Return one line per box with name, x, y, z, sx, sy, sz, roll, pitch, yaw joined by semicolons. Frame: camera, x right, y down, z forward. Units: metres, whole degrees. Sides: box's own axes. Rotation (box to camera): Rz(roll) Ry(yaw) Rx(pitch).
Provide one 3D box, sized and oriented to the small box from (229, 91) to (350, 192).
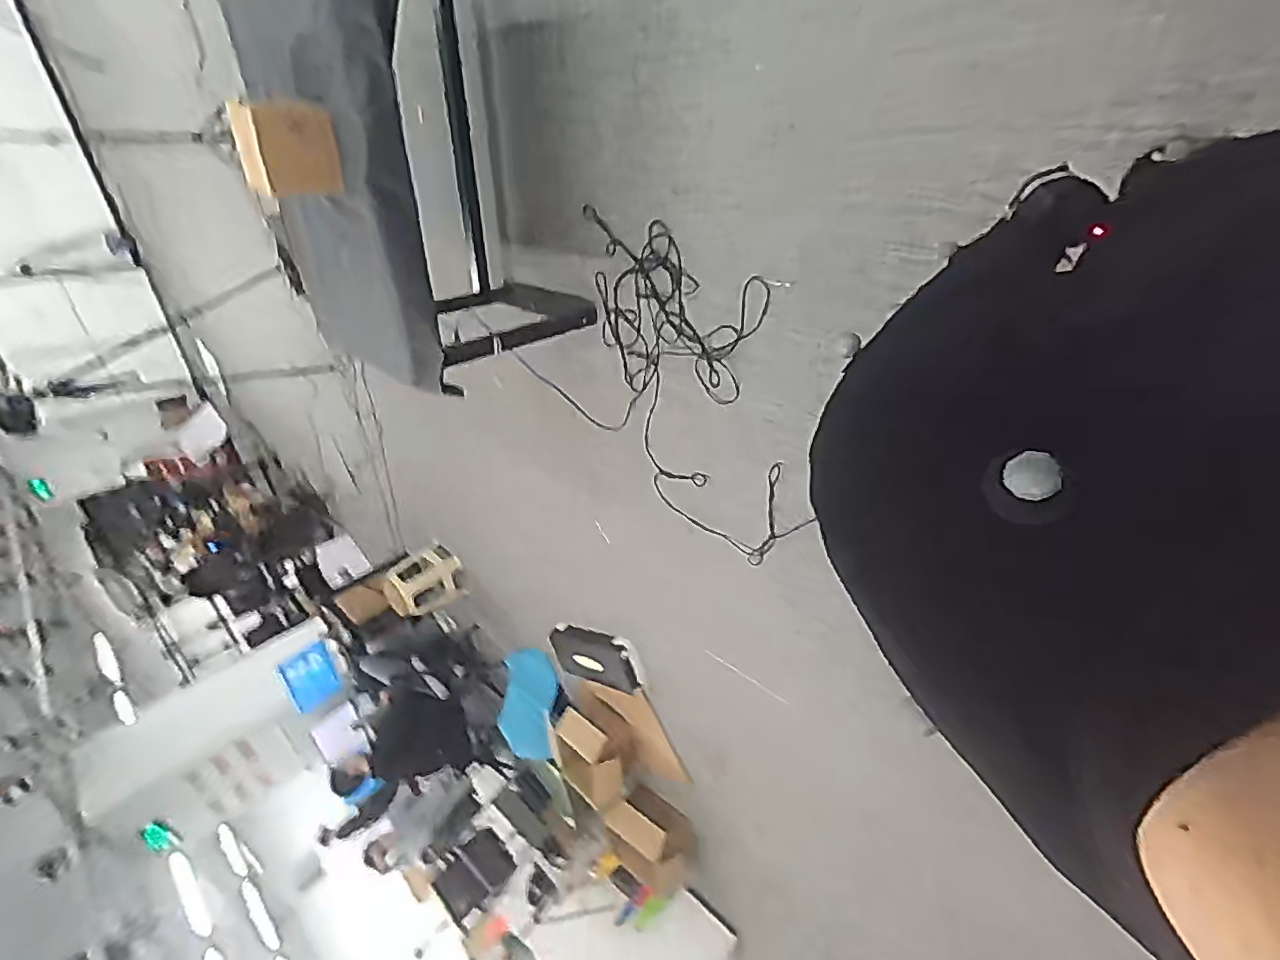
small box;-0.813;-0.794;1.268;0.168;0.176;0.179;34;135;31
